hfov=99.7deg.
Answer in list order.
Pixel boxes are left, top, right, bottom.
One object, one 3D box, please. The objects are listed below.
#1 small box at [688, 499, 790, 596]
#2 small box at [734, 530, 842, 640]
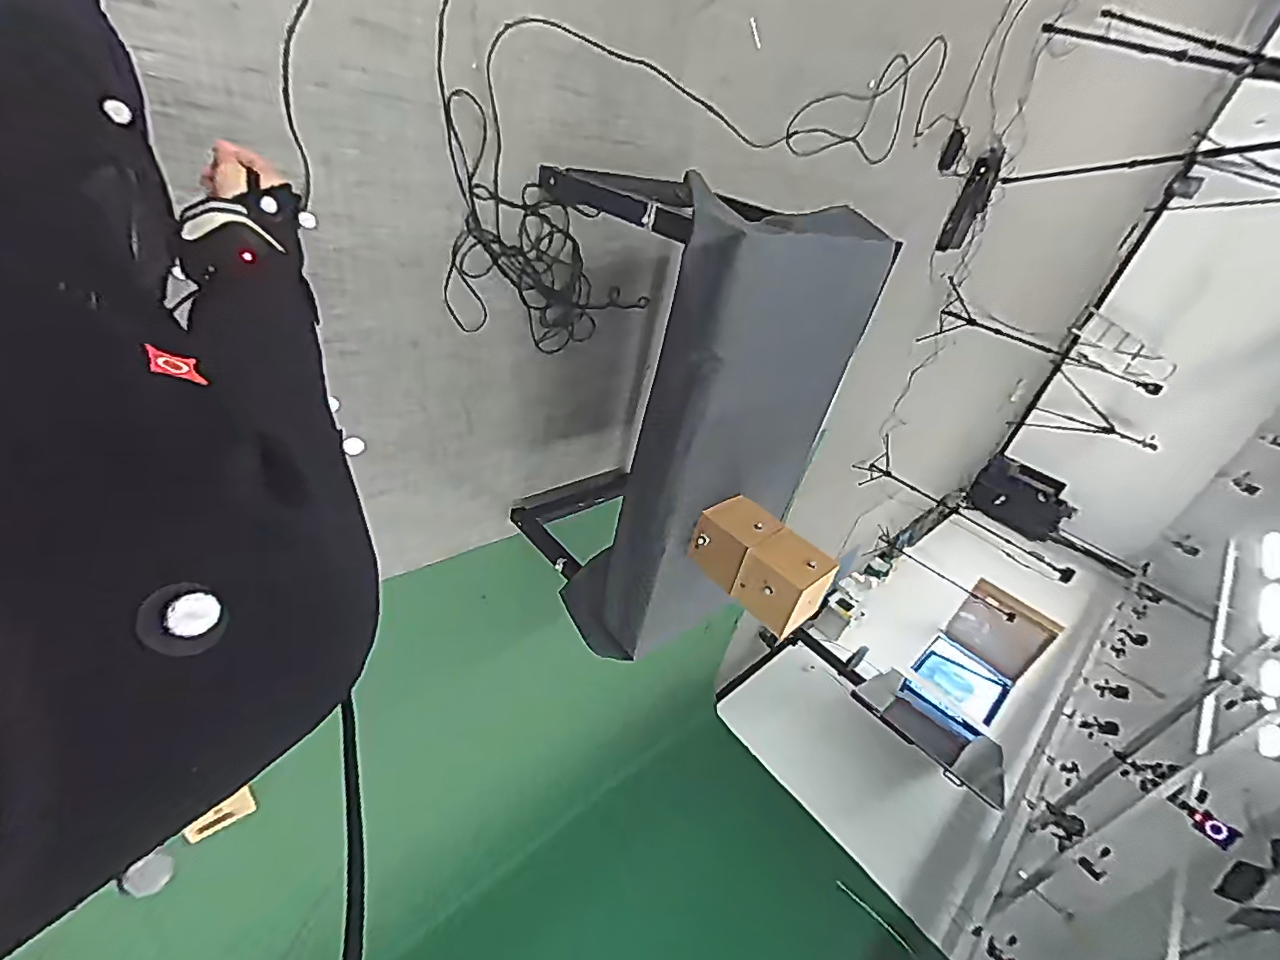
[{"bbox_3d":[0.259,0.171,1.437,0.179,0.176,0.168,-17,133,-39],"label":"small box"},{"bbox_3d":[0.360,0.253,1.340,0.179,0.176,0.168,-20,134,-40],"label":"small box"}]
